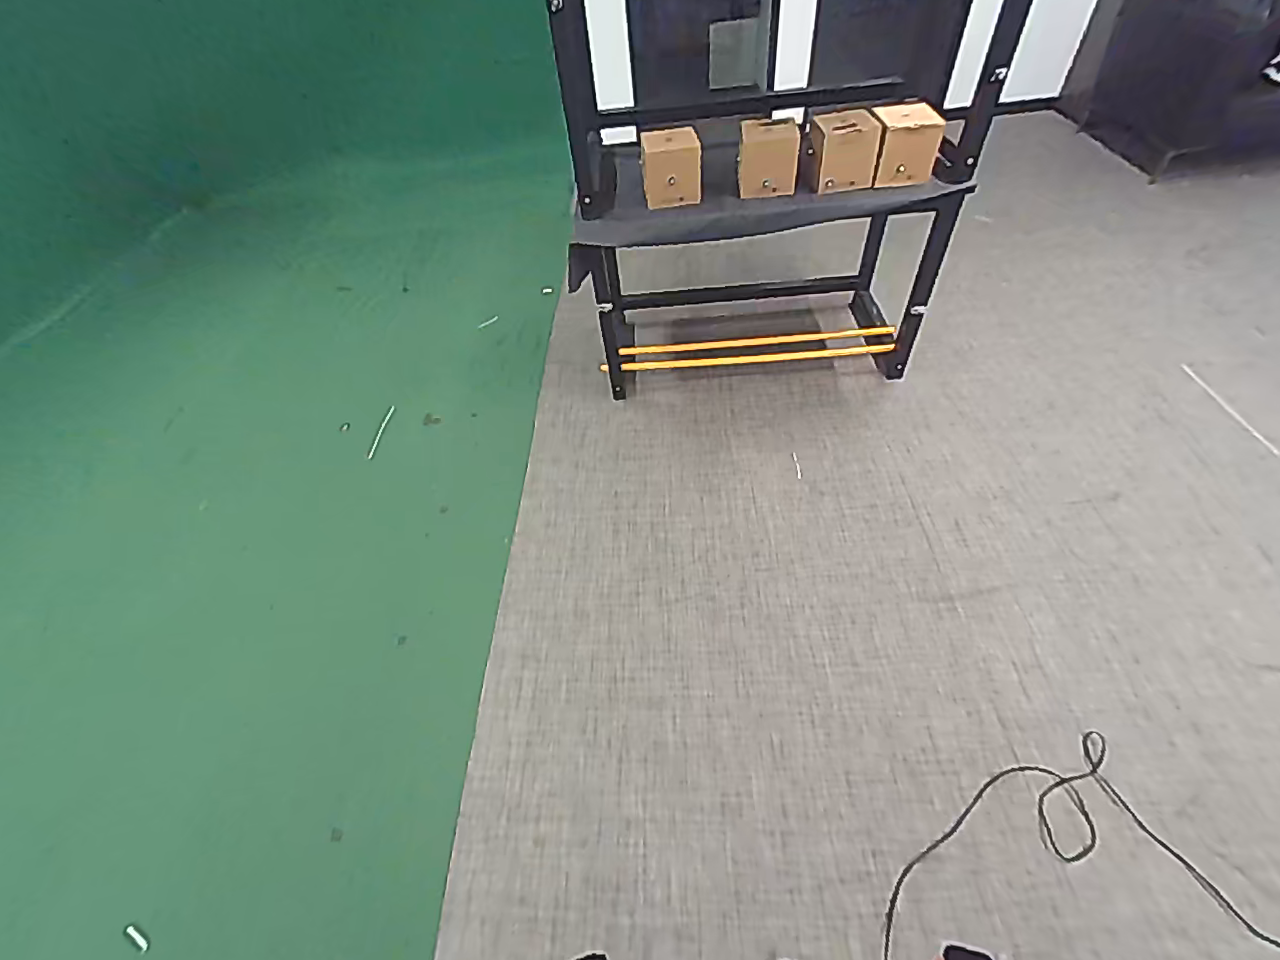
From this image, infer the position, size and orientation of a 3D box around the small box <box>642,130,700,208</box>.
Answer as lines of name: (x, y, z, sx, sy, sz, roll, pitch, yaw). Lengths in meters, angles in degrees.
small box: (0.099, -0.979, 1.712, 0.168, 0.176, 0.179, -7, 48, 0)
